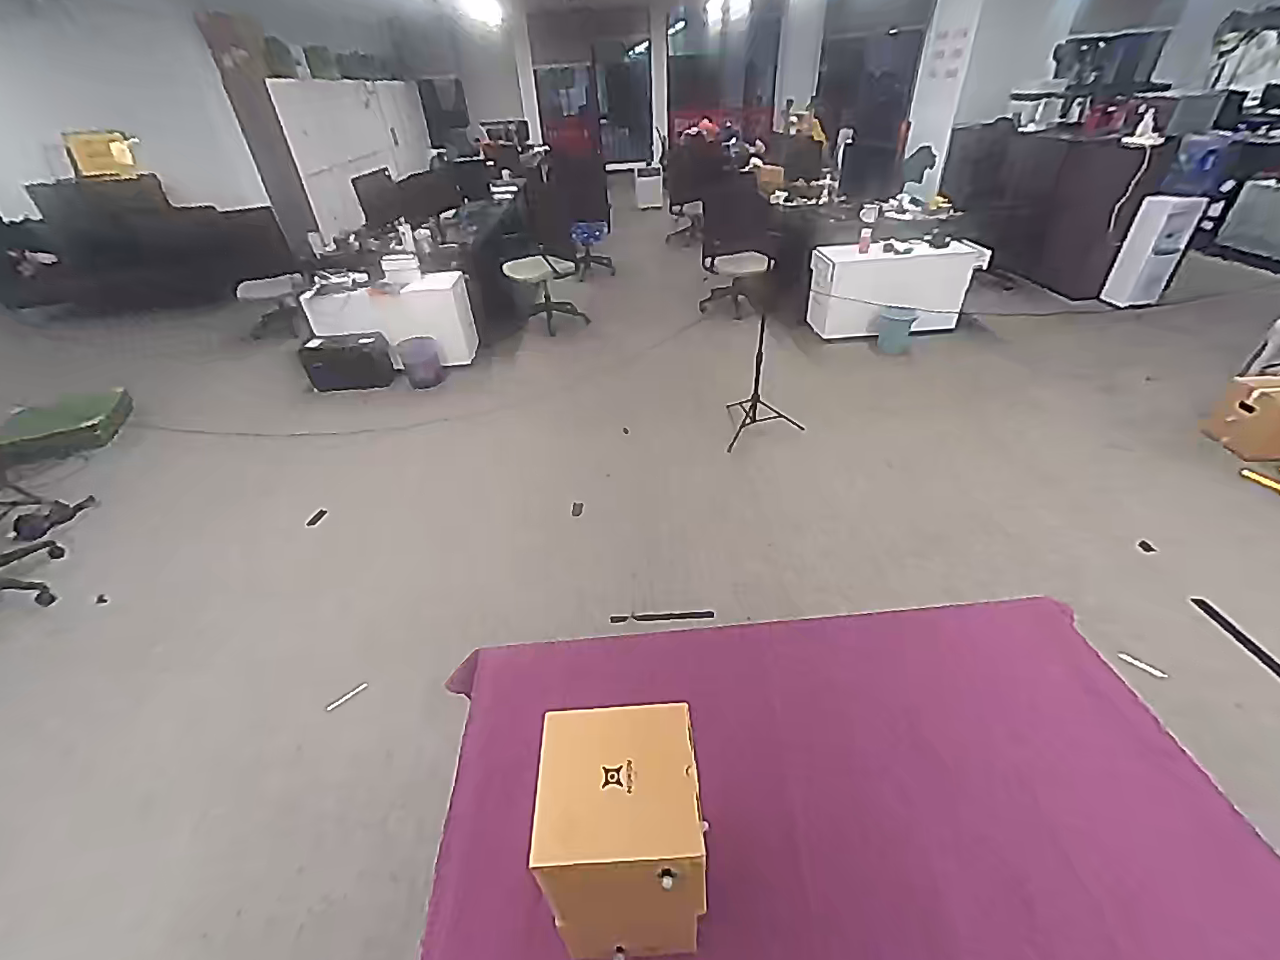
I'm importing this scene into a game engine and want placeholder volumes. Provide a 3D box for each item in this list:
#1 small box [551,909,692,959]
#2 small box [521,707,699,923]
[{"bbox_3d":[-0.021,0.517,0.733,0.168,0.176,0.179,-4,37,0],"label":"small box"},{"bbox_3d":[-0.026,0.390,0.631,0.179,0.176,0.168,-4,37,1],"label":"small box"}]
